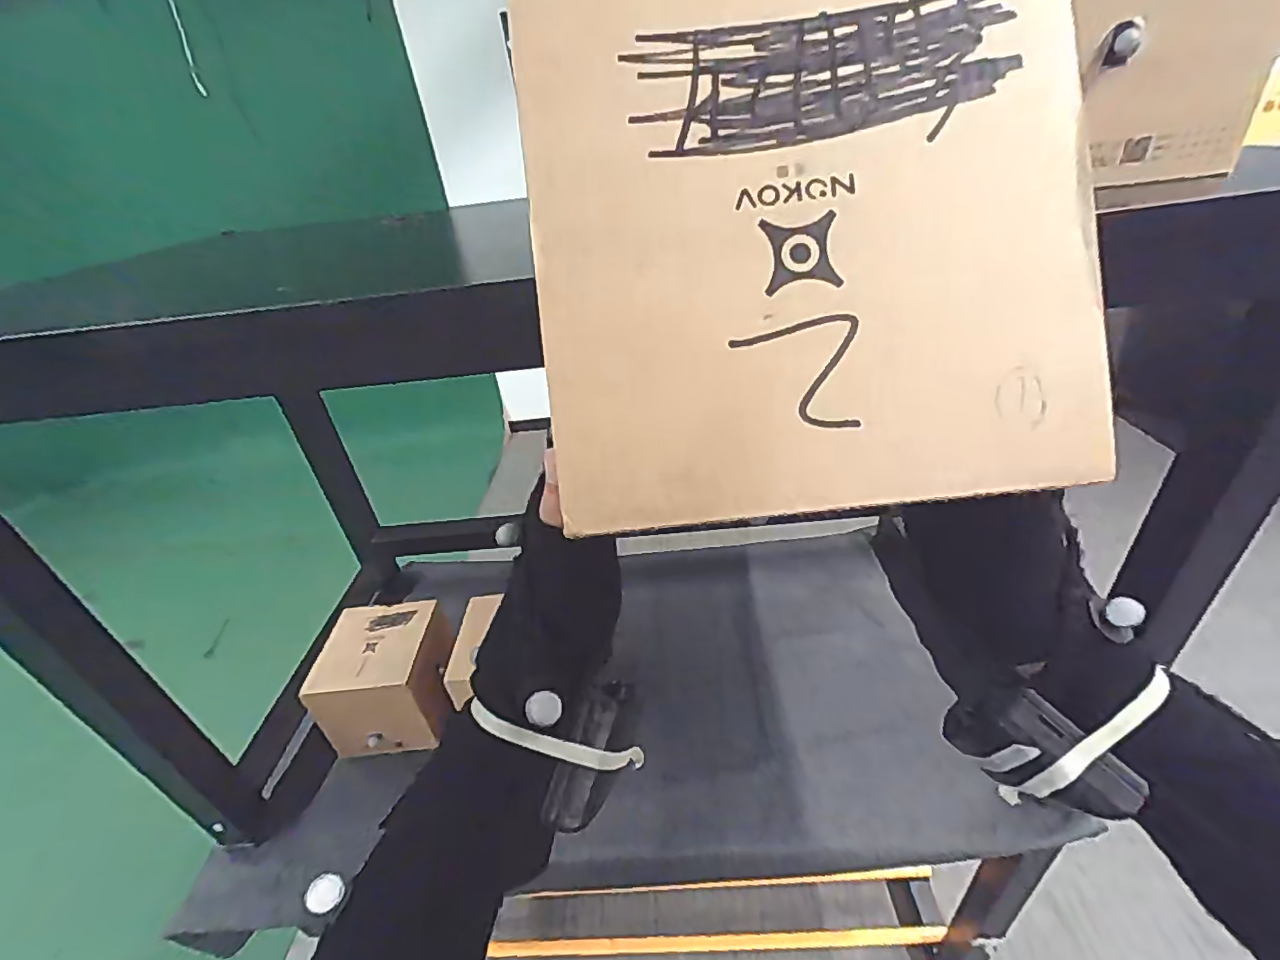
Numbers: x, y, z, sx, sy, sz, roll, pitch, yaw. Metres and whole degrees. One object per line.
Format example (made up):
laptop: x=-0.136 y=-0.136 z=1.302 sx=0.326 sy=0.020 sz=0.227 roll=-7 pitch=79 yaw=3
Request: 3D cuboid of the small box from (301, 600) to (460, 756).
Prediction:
small box: x=-0.417 y=0.330 z=0.910 sx=0.168 sy=0.176 sz=0.179 roll=-7 pitch=32 yaw=2

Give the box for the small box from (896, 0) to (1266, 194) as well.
small box: x=0.297 y=-0.313 z=0.392 sx=0.168 sy=0.176 sz=0.179 roll=0 pitch=33 yaw=12
